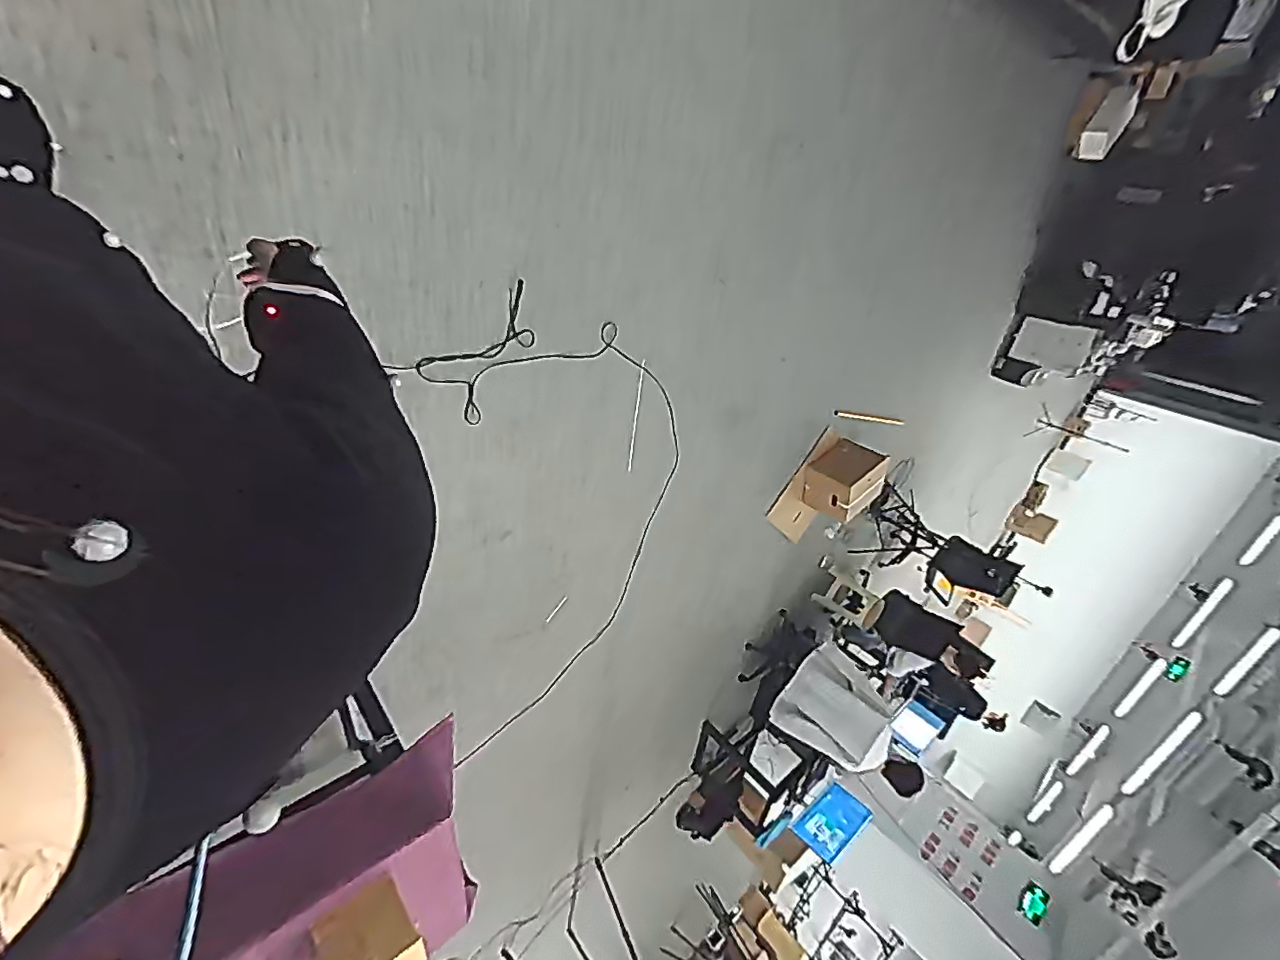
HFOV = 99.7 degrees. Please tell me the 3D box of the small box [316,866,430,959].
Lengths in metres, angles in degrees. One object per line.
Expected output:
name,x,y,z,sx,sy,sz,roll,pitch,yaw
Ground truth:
small box,-0.593,1.017,1.204,0.179,0.176,0.168,-19,130,-36
